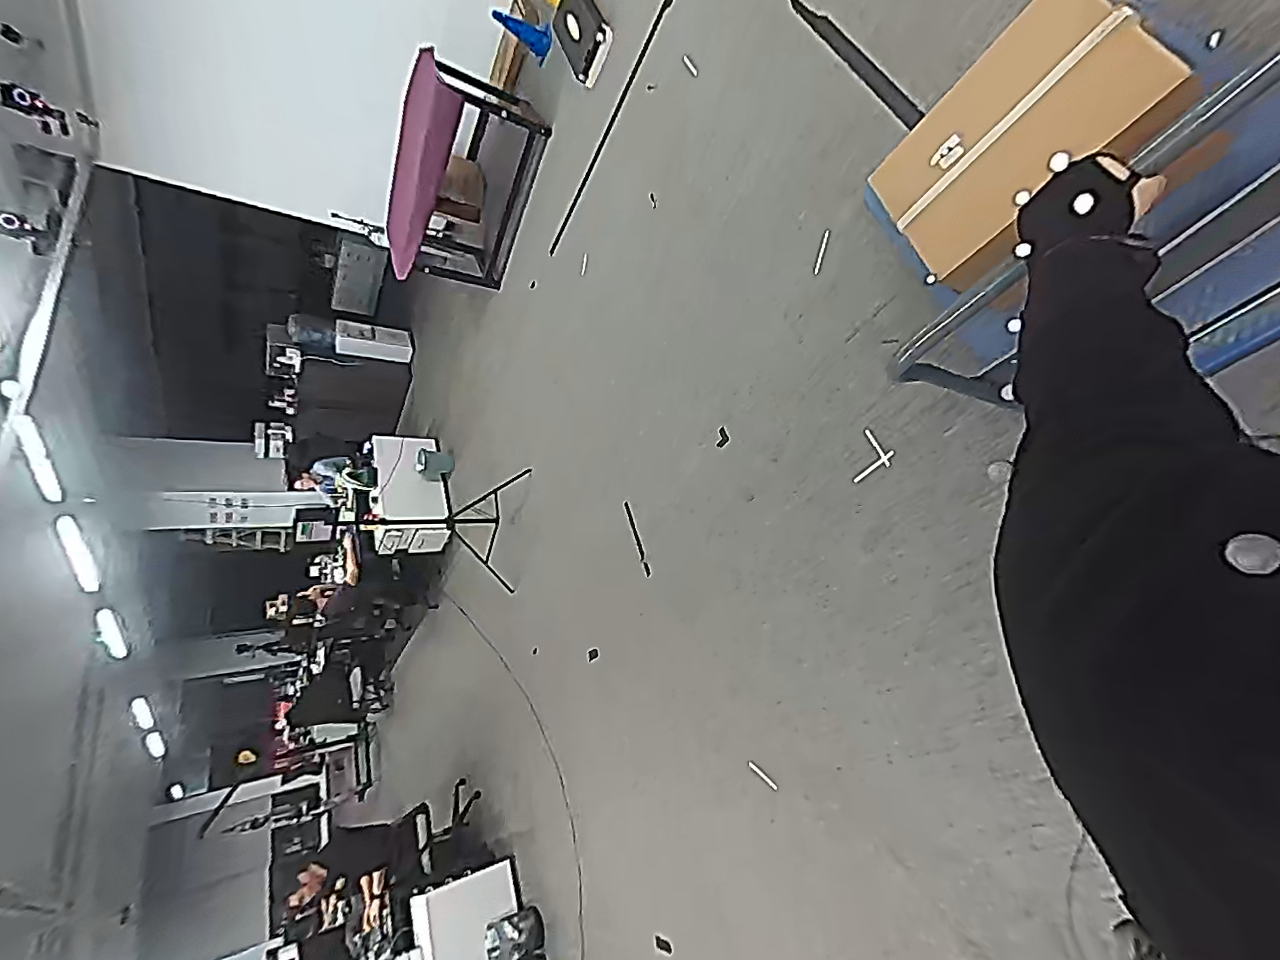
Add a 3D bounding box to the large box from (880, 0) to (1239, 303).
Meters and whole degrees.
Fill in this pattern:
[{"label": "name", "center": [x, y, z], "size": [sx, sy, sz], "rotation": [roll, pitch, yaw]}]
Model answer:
[{"label": "large box", "center": [0.777, -0.622, 1.048], "size": [0.408, 0.320, 0.320], "rotation": [-45, 53, 46]}]
